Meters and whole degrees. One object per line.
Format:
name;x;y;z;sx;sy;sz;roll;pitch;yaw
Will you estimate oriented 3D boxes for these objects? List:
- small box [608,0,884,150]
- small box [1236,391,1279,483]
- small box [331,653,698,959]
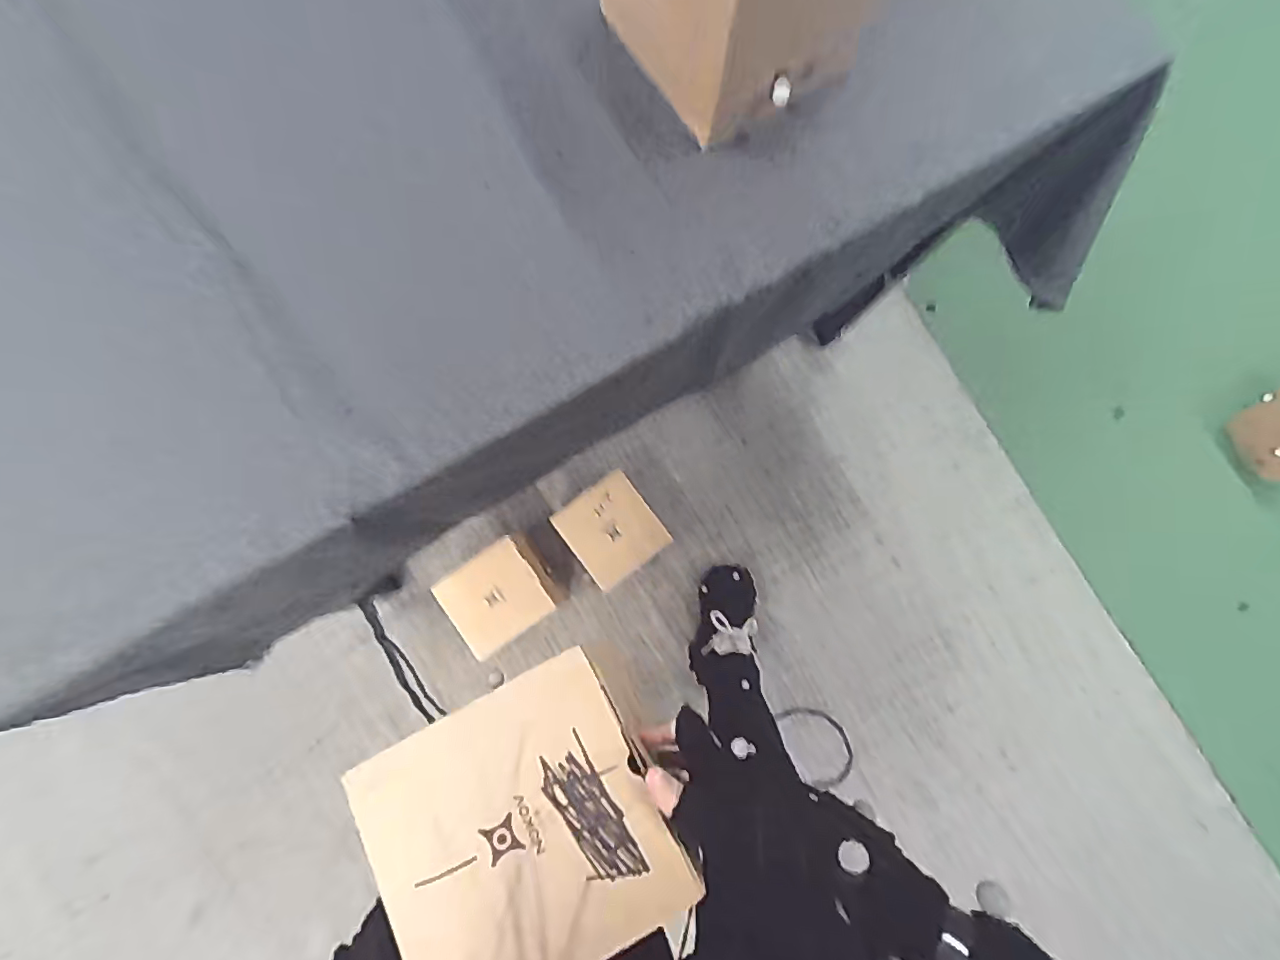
small box;0.080;-0.407;0.412;0.168;0.176;0.179;-33;86;-3
small box;1.438;-0.106;1.141;0.179;0.176;0.168;-31;86;-3
small box;-0.075;0.242;0.398;0.179;0.176;0.168;-28;76;-4
